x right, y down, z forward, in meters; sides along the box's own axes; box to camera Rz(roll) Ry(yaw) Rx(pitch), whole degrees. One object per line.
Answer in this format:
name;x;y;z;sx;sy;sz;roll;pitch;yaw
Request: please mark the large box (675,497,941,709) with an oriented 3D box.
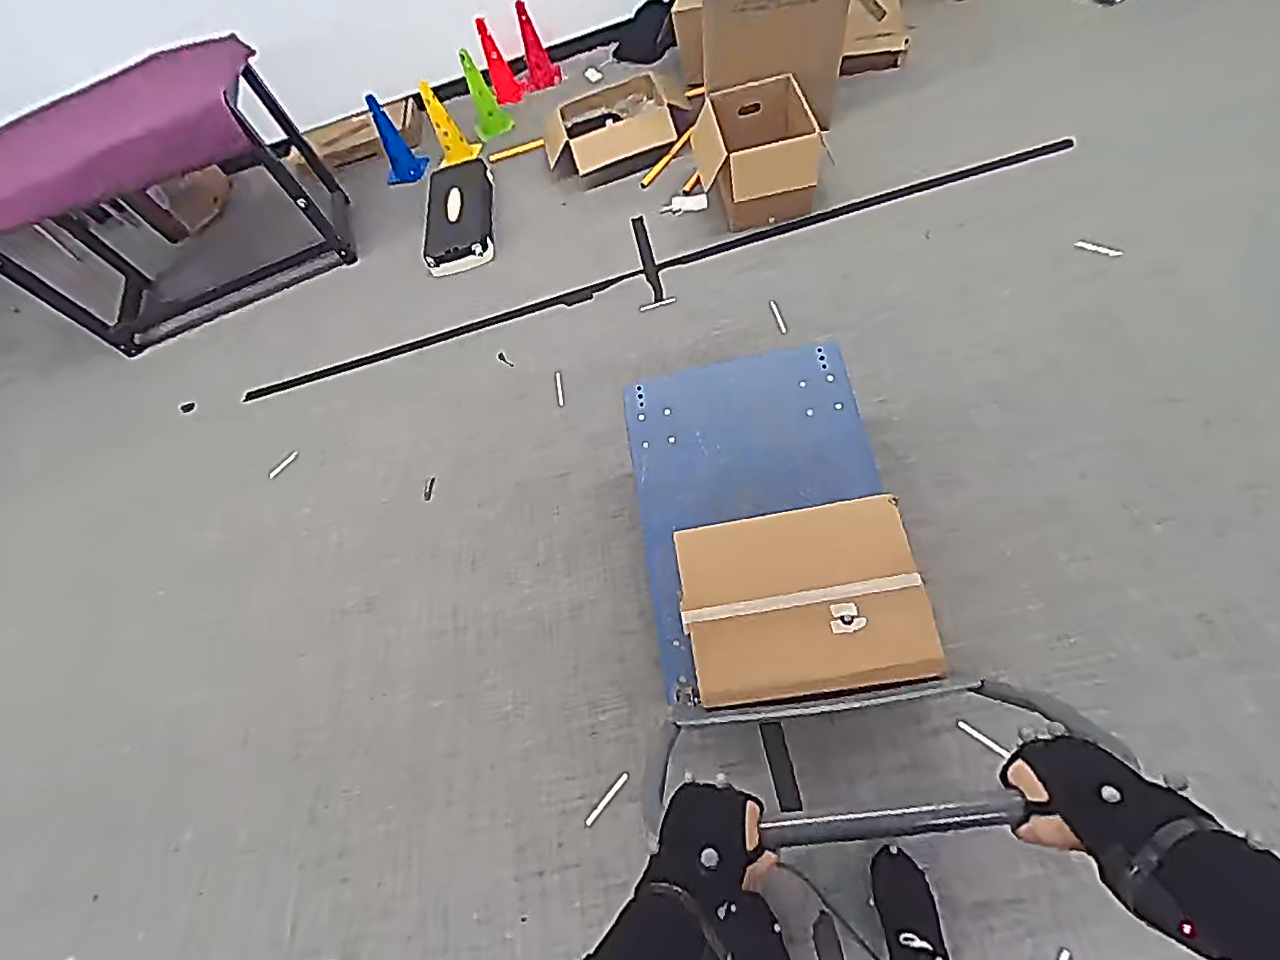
large box;0.305;0.258;1.100;0.408;0.320;0.320;-11;72;6
